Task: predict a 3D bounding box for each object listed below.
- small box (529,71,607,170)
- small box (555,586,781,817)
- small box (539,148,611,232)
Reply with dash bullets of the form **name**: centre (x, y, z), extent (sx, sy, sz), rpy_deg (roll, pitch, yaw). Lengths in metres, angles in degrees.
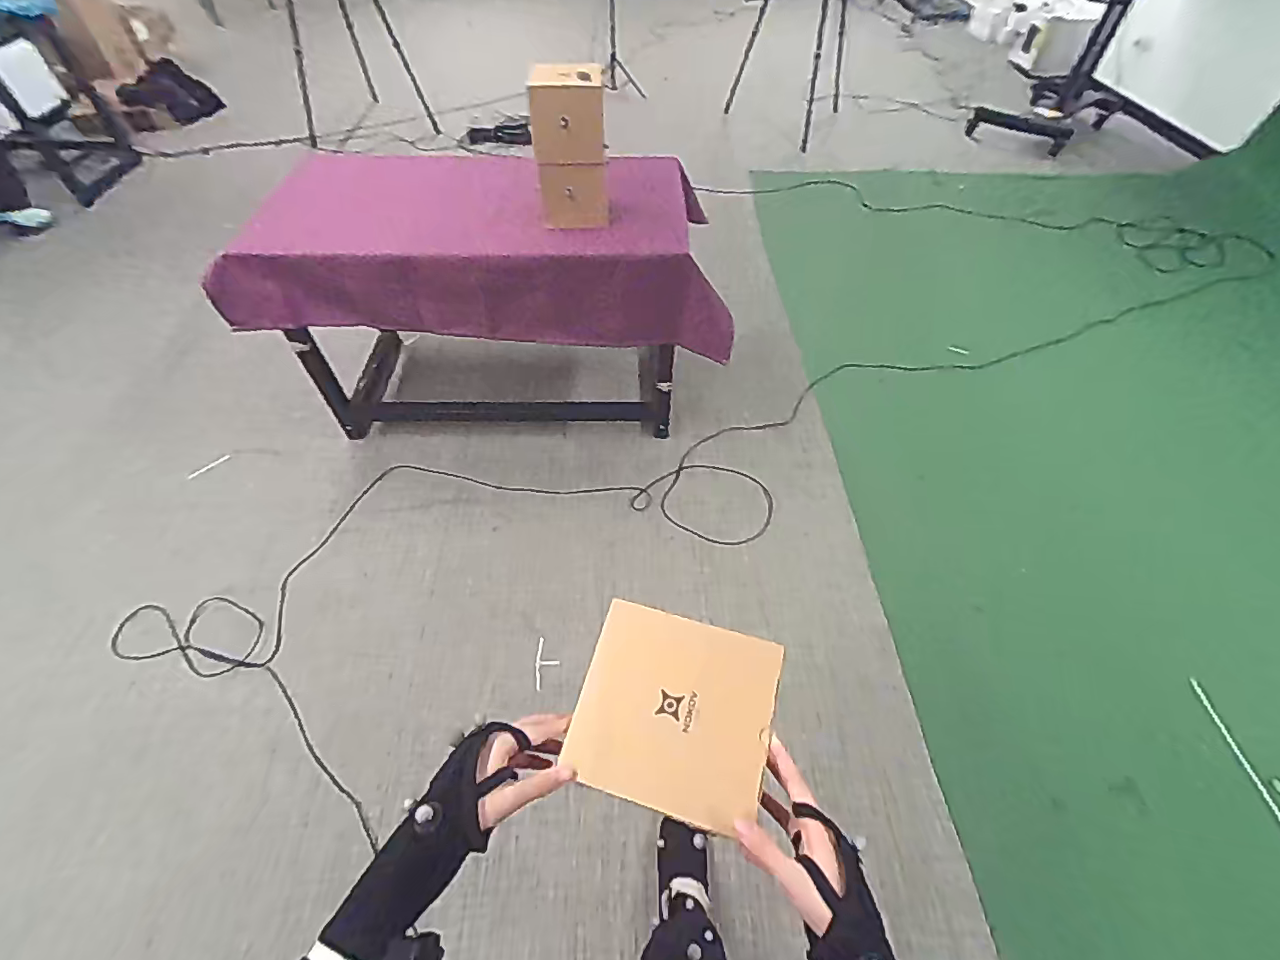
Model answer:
- **small box**: centre (-0.173, -0.900, 1.357), extent (0.179, 0.176, 0.168), rpy_deg (-2, 51, -1)
- **small box**: centre (0.033, 0.235, 0.563), extent (0.179, 0.176, 0.168), rpy_deg (13, 60, 10)
- **small box**: centre (-0.173, -0.799, 1.488), extent (0.179, 0.176, 0.168), rpy_deg (-3, 52, -2)
